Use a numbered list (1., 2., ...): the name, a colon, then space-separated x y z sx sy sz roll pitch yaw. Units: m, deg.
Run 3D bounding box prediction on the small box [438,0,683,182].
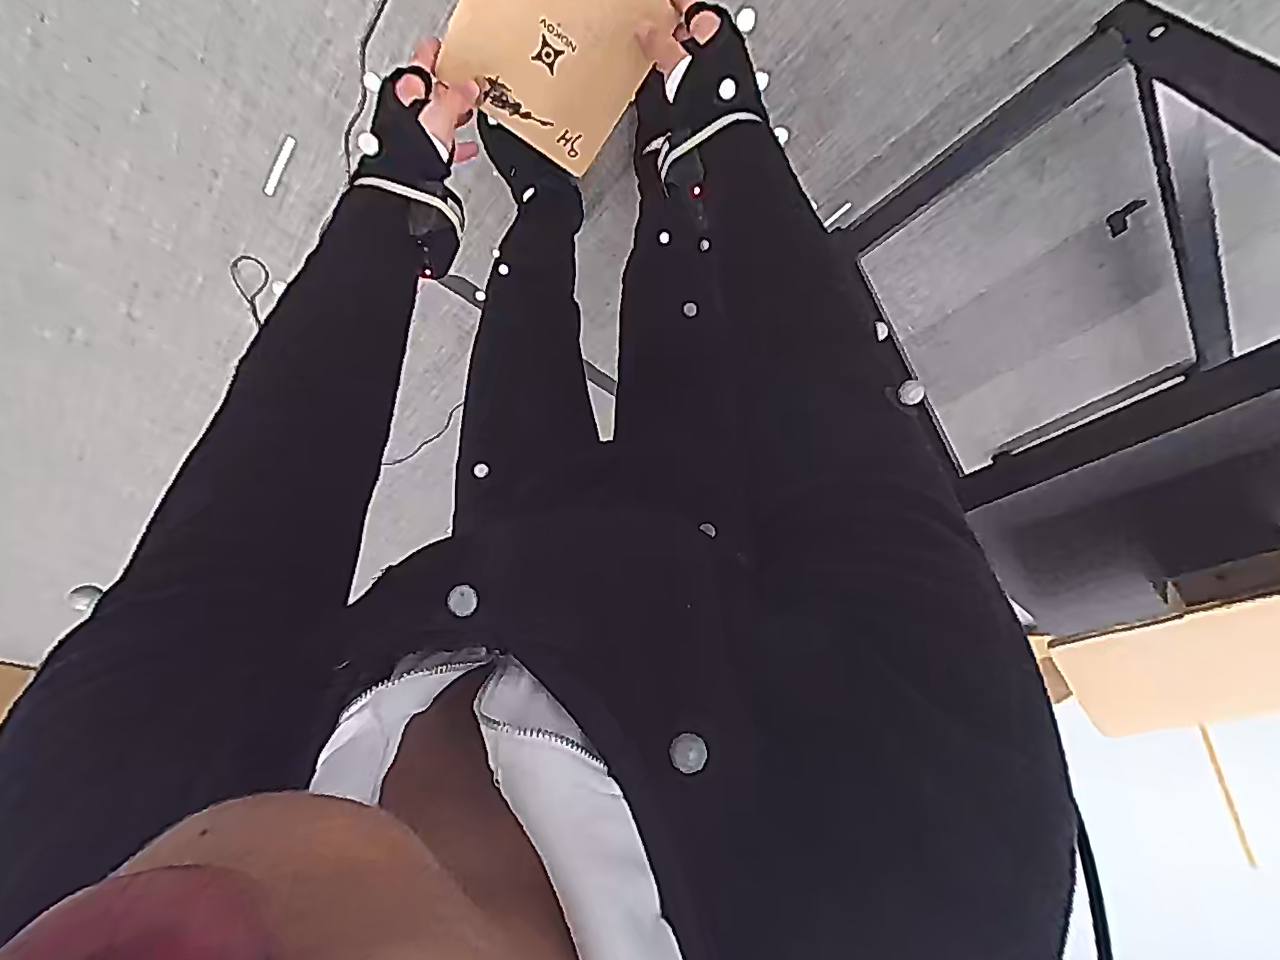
1. small box: -0.080 -0.457 0.543 0.168 0.176 0.179 23 136 -30
